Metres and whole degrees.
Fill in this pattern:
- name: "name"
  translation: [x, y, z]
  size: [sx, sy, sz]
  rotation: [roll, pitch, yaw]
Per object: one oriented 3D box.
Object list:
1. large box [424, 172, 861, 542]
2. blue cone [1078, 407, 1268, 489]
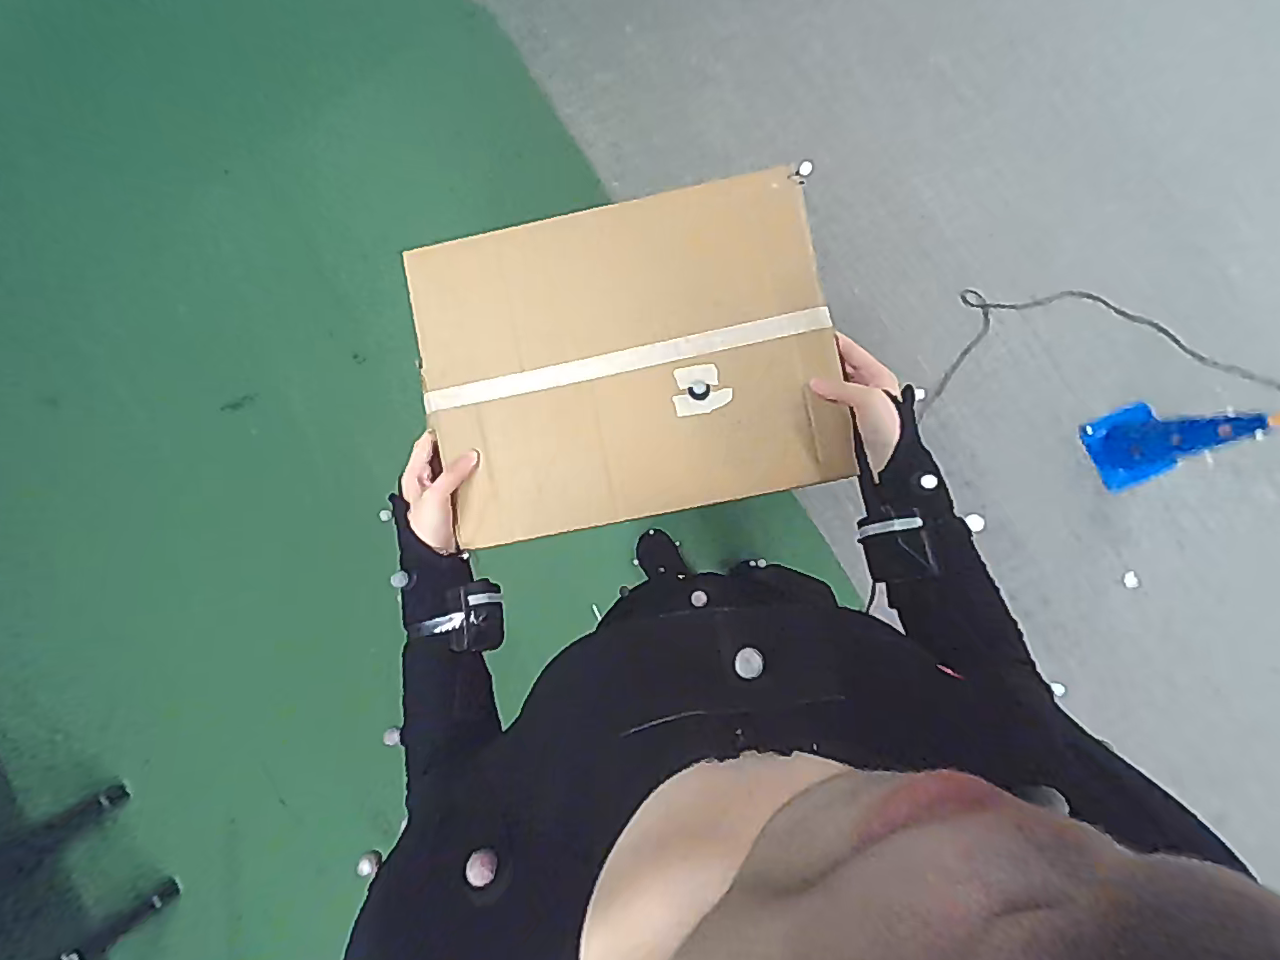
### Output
- name: "large box"
  translation: [0.002, -0.118, 0.691]
  size: [0.408, 0.320, 0.320]
  rotation: [-10, 88, 2]
- name: "blue cone"
  translation: [1.304, -0.105, 1.303]
  size: [0.192, 0.380, 0.193]
  rotation: [-22, 83, 2]
